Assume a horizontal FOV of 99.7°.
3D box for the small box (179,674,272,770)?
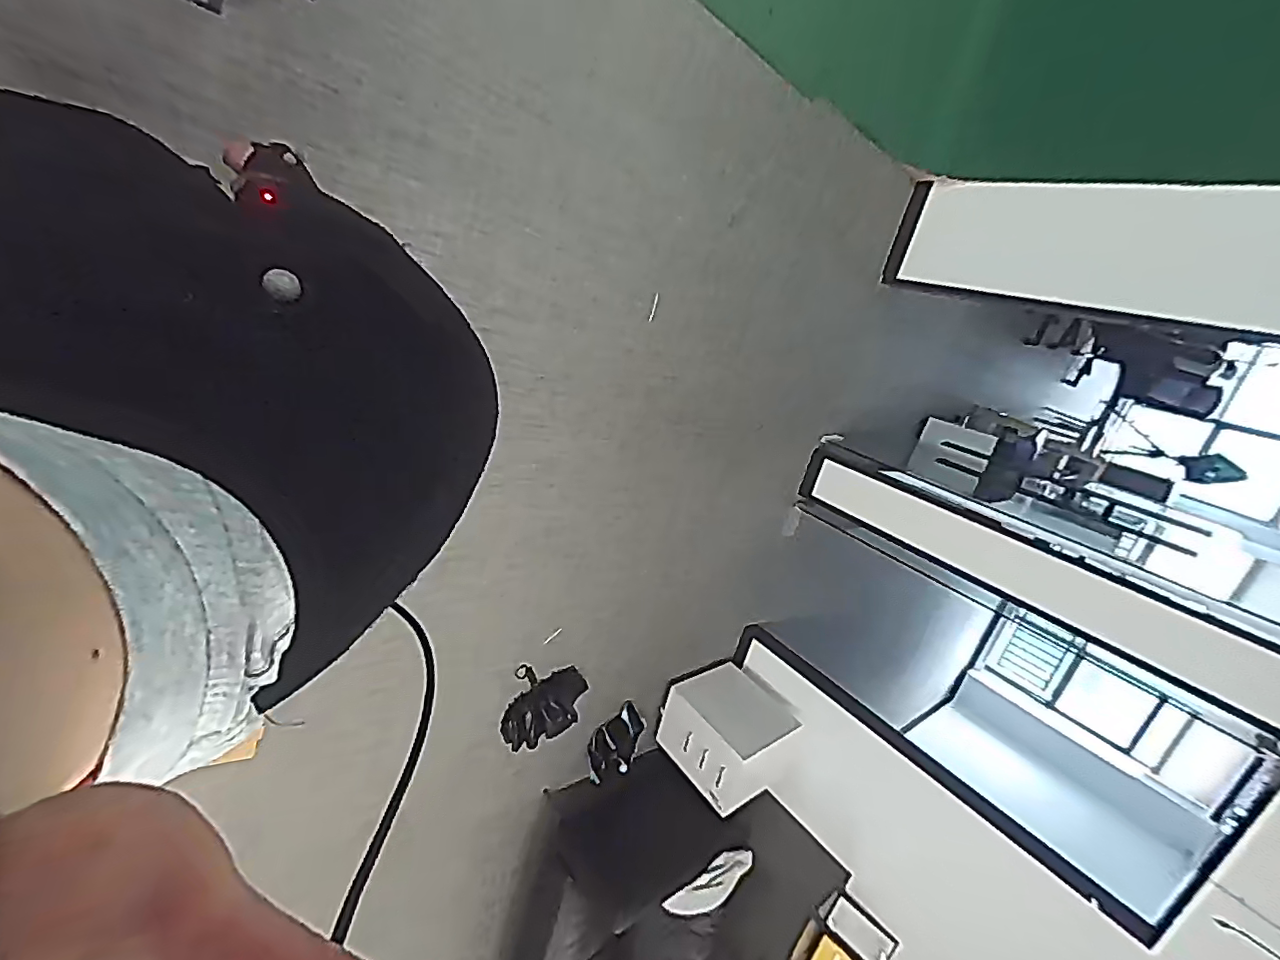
[{"bbox_3d":[-1.156,0.662,1.505,0.179,0.176,0.168,12,104,-44],"label":"small box"}]
